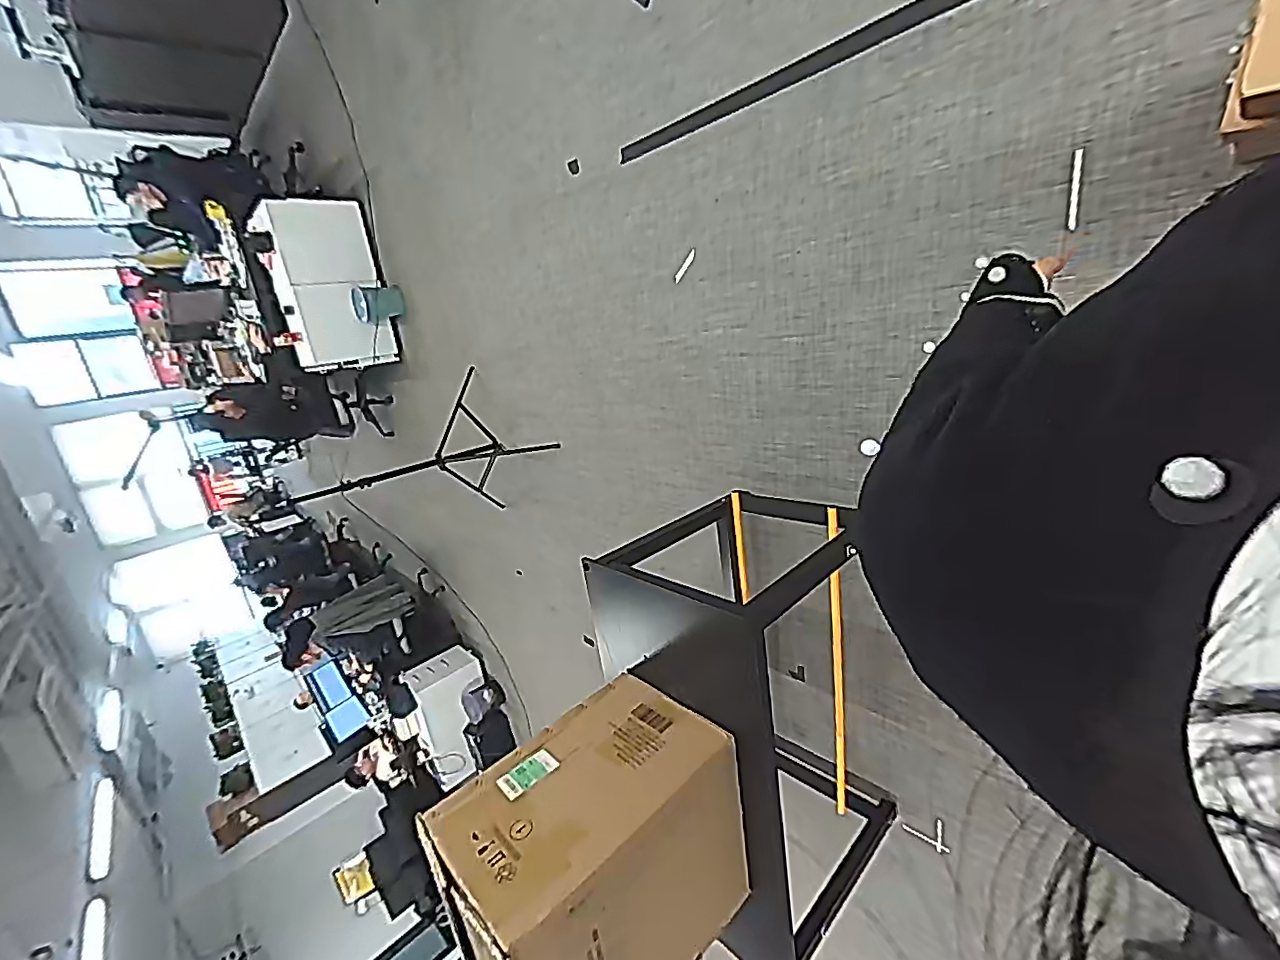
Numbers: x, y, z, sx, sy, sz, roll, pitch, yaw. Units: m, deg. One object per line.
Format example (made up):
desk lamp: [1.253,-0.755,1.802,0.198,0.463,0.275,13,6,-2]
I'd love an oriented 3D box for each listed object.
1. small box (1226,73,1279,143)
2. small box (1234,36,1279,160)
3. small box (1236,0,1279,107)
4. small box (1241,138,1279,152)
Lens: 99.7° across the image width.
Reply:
small box: [0.802,-0.499,0.606,0.168,0.176,0.179,18,121,44]
small box: [1.034,-0.603,0.813,0.179,0.176,0.168,5,111,47]
small box: [0.689,-0.463,0.491,0.168,0.176,0.179,14,118,45]
small box: [0.919,-0.554,0.706,0.168,0.176,0.179,11,116,46]
